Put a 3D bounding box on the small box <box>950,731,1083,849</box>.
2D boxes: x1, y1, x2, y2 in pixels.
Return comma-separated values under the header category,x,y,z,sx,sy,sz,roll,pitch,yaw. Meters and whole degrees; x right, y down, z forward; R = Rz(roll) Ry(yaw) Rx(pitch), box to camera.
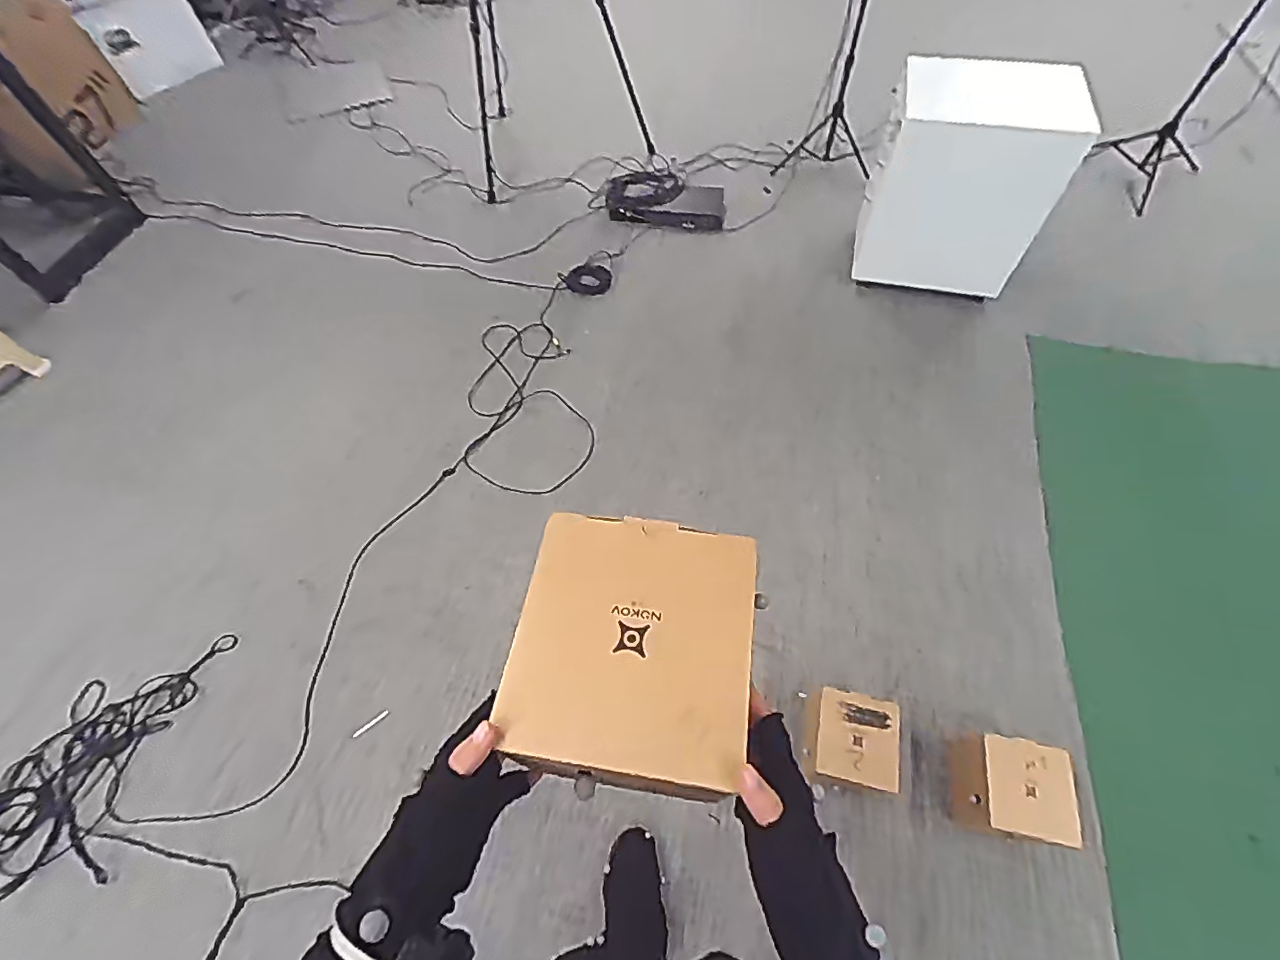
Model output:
category,x,y,z,sx,sy,sz,roll,pitch,yaw
small box,0.777,0.648,1.136,0.168,0.176,0.179,10,60,8
